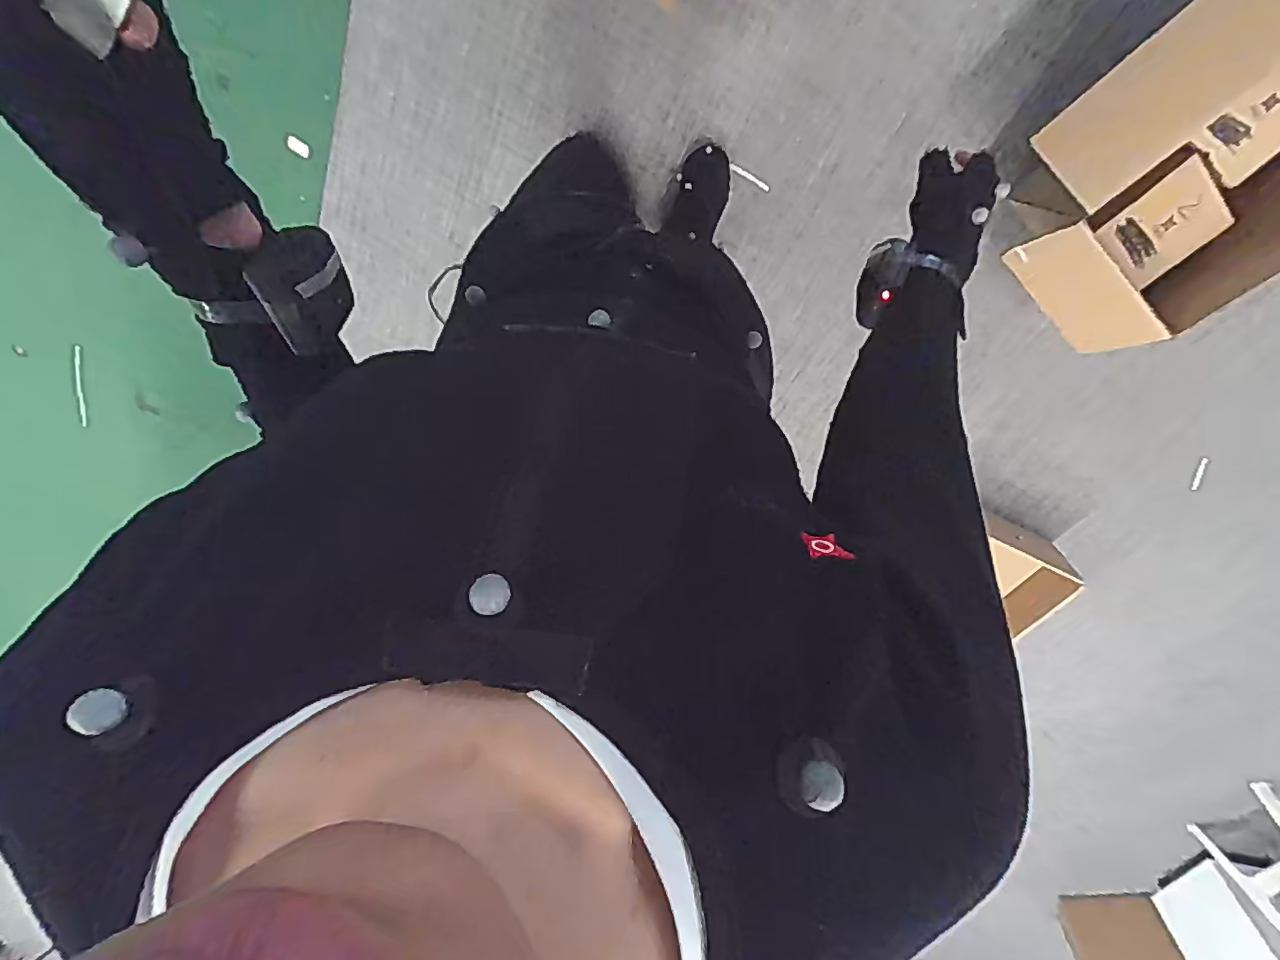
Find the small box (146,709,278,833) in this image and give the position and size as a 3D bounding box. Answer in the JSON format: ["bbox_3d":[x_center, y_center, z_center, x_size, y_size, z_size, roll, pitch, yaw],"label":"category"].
[{"bbox_3d":[-0.970,0.662,1.236,0.168,0.176,0.179,32,122,-14],"label":"small box"}]
